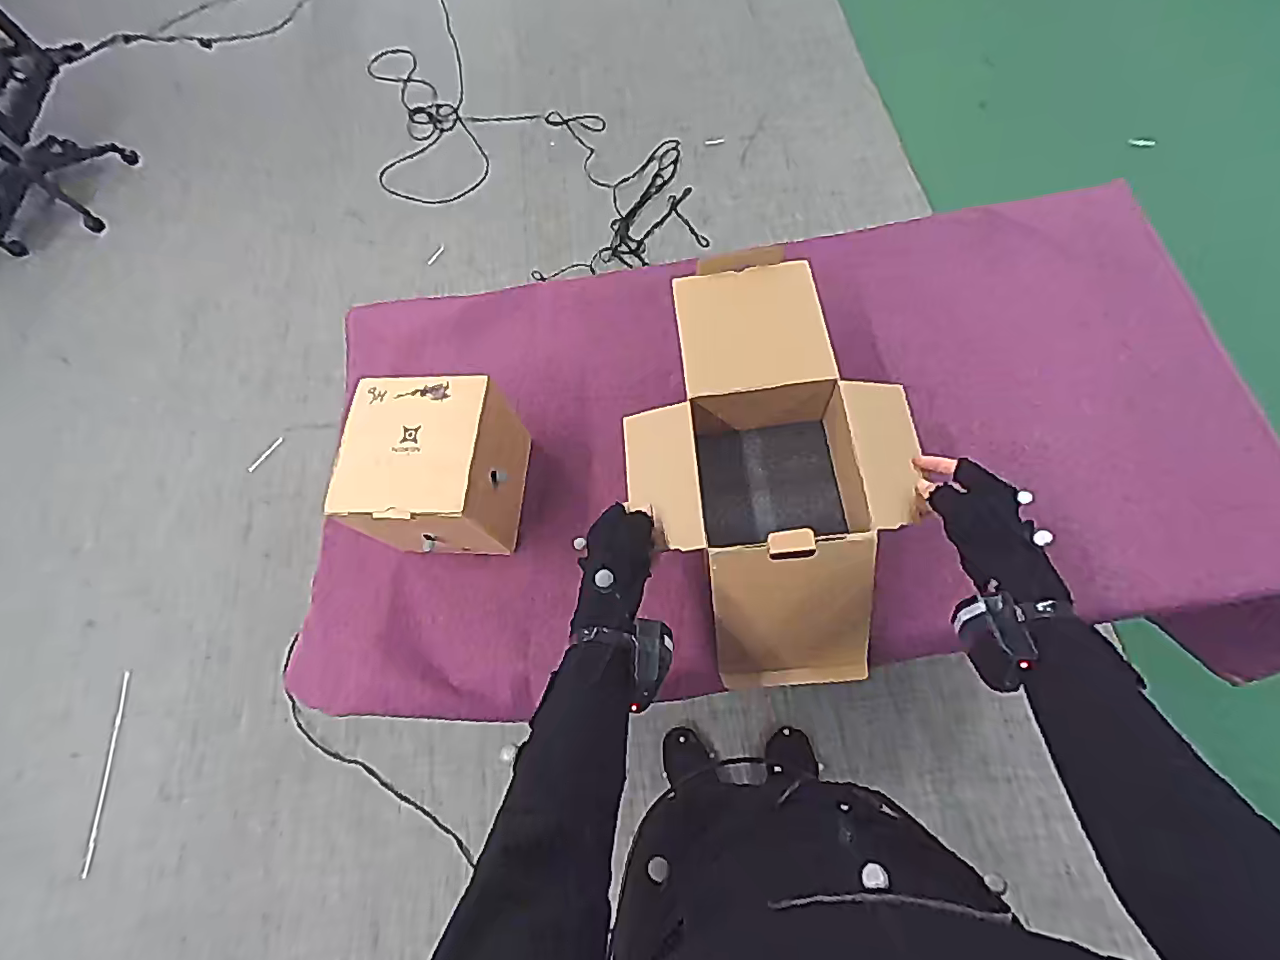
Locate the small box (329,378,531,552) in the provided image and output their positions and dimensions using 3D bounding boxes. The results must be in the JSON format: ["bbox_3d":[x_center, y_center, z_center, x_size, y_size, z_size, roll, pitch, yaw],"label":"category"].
[{"bbox_3d":[-0.249,-0.011,0.688,0.168,0.176,0.179,1,68,8],"label":"small box"}]
